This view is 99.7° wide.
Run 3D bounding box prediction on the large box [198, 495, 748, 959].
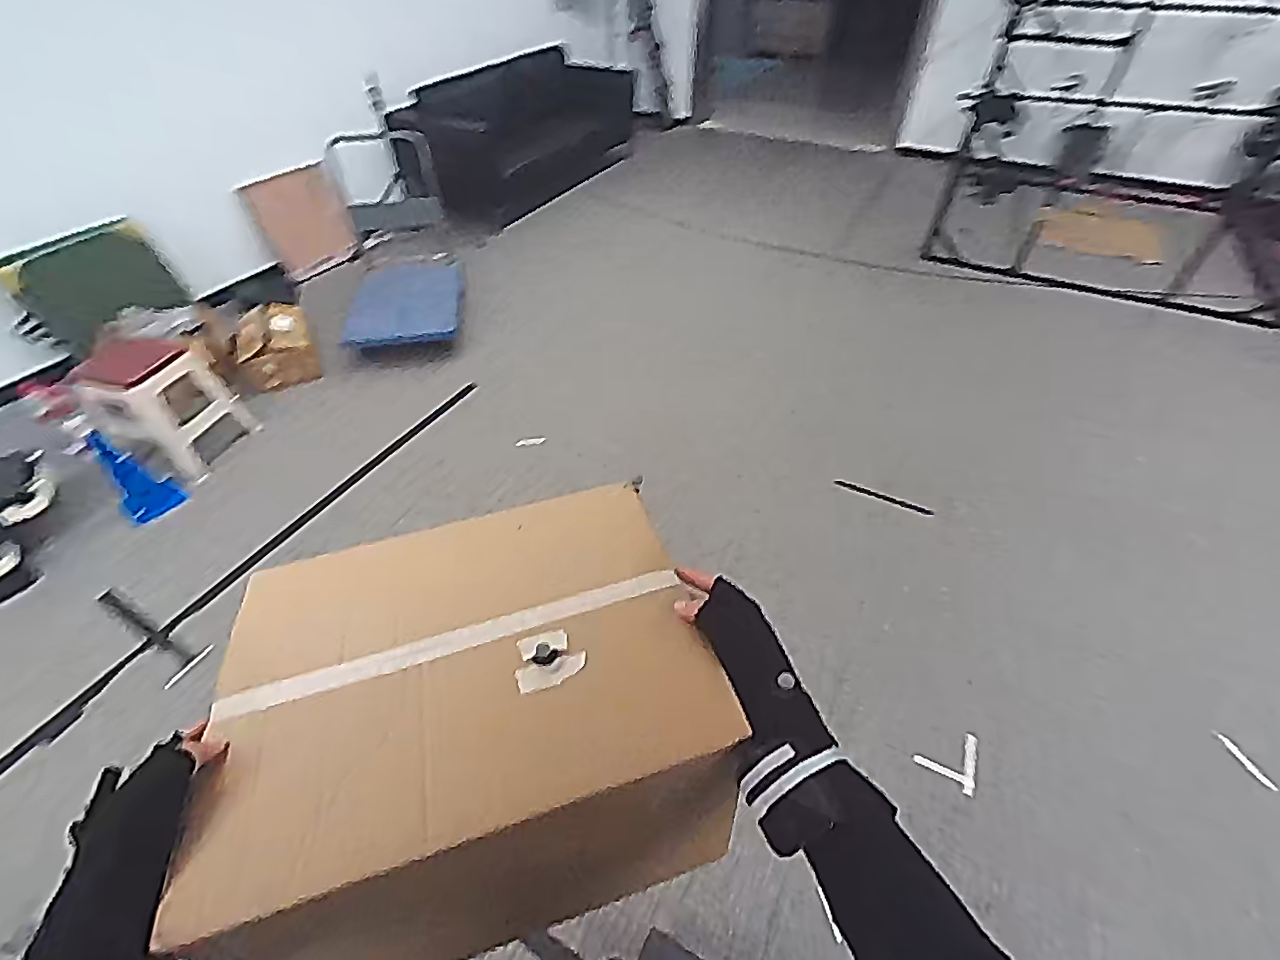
[{"bbox_3d":[-0.139,0.268,0.593,0.408,0.320,0.320,-13,42,-11],"label":"large box"}]
